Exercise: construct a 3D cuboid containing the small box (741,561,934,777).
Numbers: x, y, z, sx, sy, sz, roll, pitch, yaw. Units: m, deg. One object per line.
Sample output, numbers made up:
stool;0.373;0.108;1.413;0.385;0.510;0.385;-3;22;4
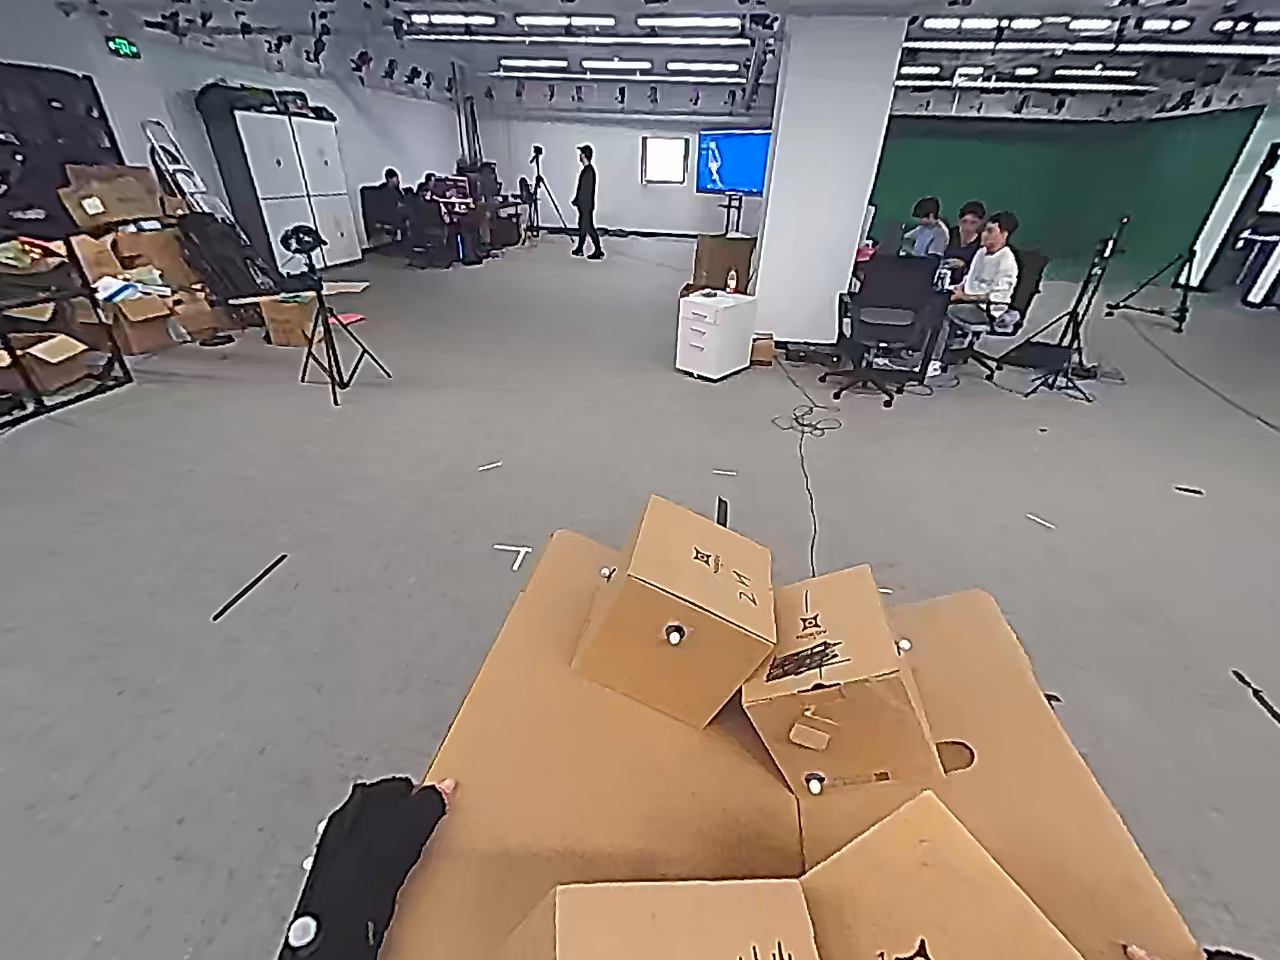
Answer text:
small box;0.234;0.233;0.658;0.168;0.176;0.179;-21;21;22
